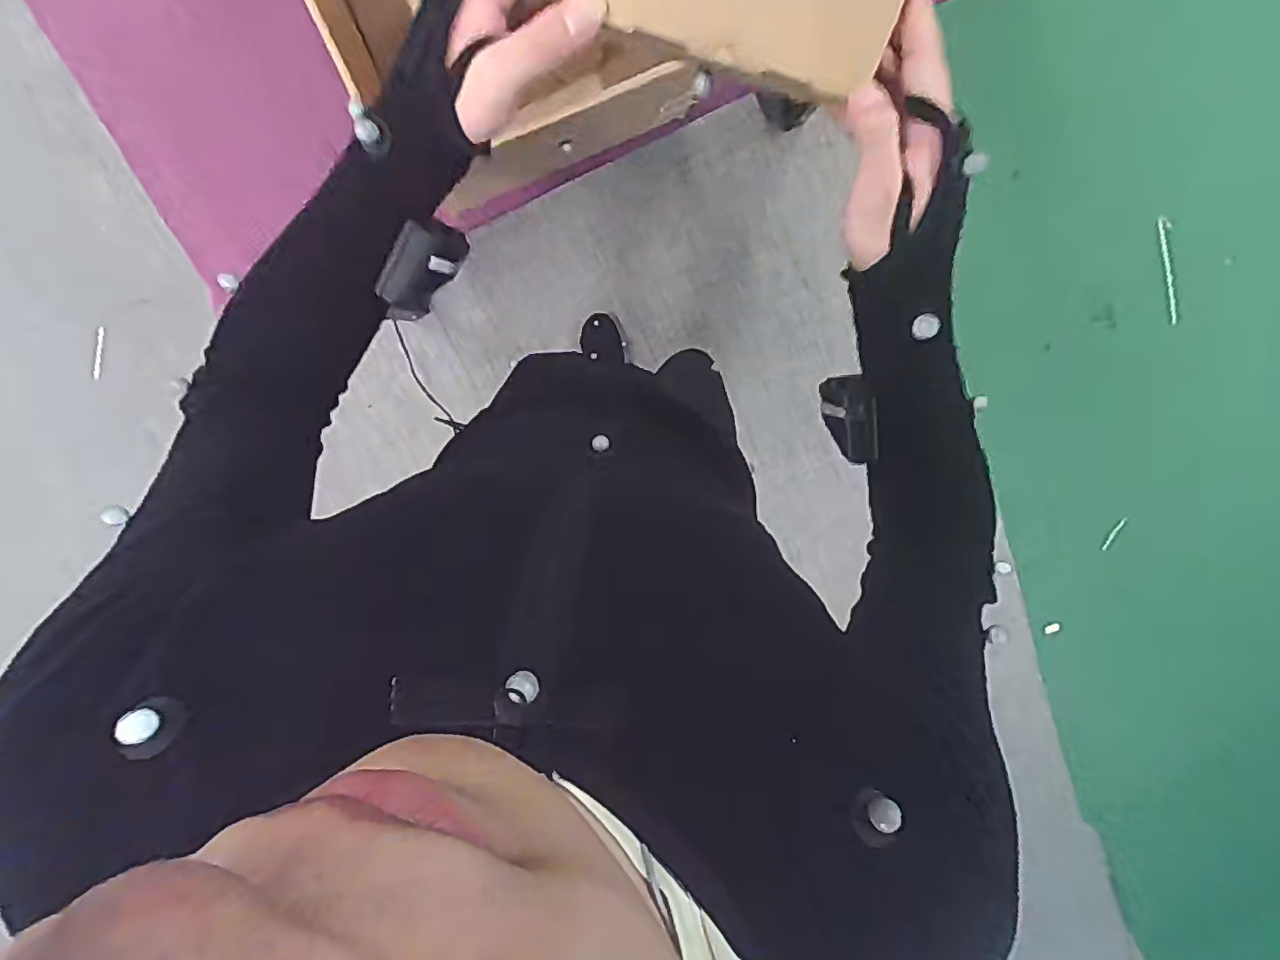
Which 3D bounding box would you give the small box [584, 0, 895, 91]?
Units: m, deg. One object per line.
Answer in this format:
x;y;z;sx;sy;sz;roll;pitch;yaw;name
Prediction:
0.065;-0.347;0.305;0.168;0.176;0.179;12;126;-7;small box
